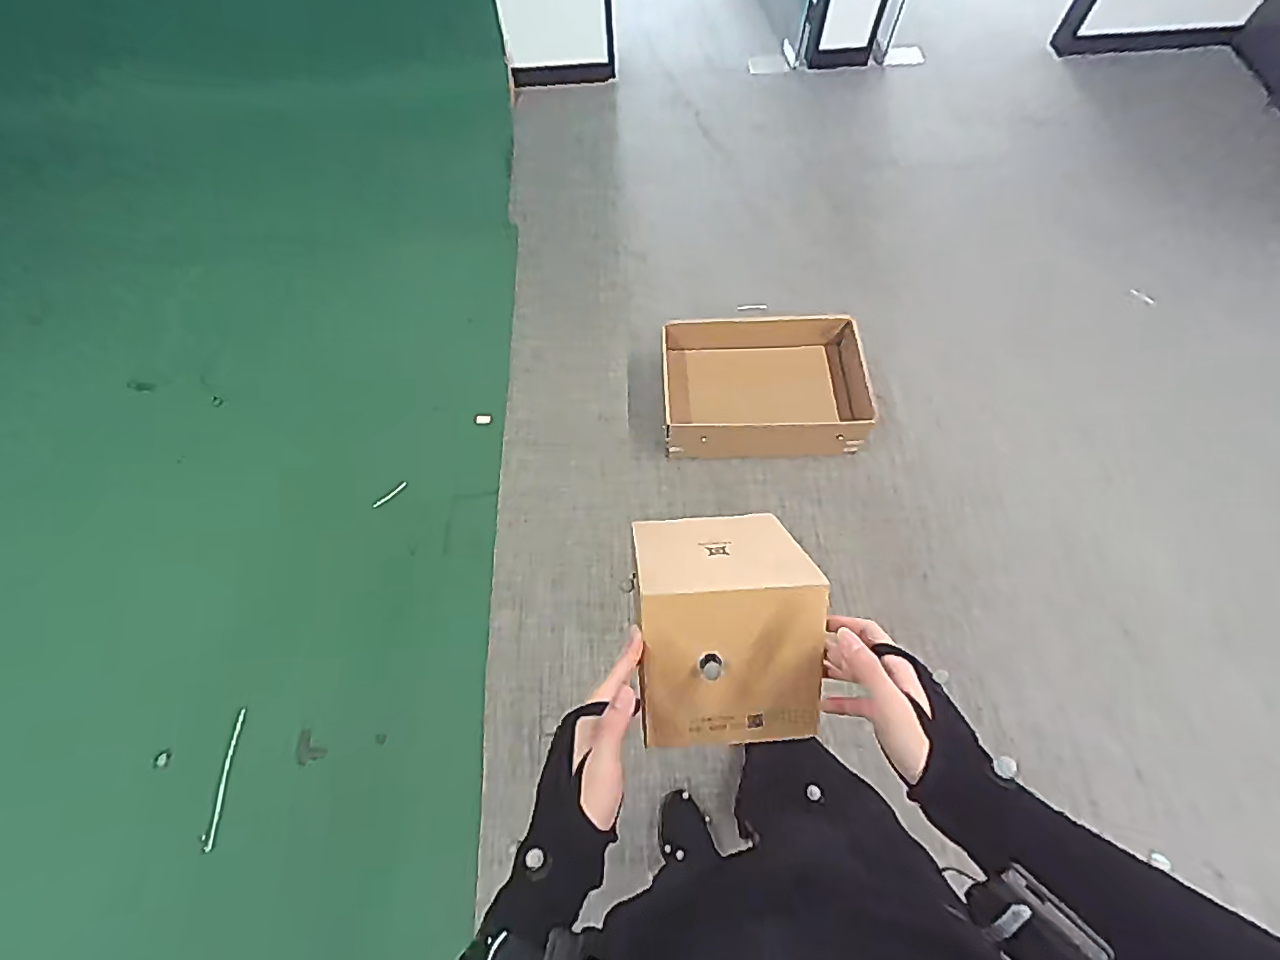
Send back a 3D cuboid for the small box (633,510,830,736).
[{"bbox_3d":[0.081,0.142,0.561,0.168,0.179,0.176,-2,107,-4],"label":"small box"}]
